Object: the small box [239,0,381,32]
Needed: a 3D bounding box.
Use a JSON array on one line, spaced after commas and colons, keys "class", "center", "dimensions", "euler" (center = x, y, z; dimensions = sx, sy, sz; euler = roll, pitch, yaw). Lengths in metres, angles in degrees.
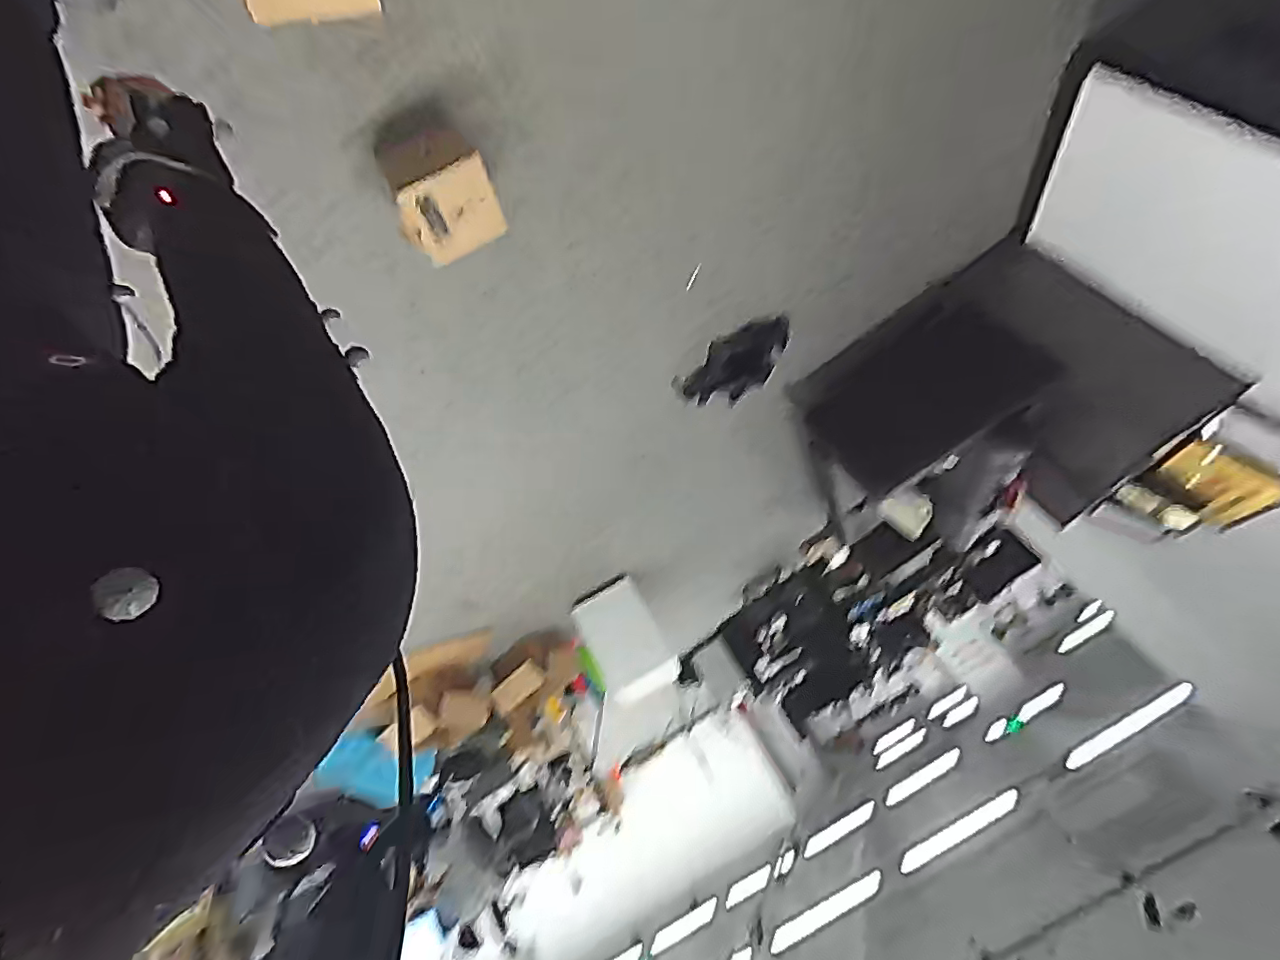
[{"class": "small box", "center": [-0.491, -0.754, 0.741], "dimensions": [0.179, 0.176, 0.168], "euler": [-23, 150, -17]}]
